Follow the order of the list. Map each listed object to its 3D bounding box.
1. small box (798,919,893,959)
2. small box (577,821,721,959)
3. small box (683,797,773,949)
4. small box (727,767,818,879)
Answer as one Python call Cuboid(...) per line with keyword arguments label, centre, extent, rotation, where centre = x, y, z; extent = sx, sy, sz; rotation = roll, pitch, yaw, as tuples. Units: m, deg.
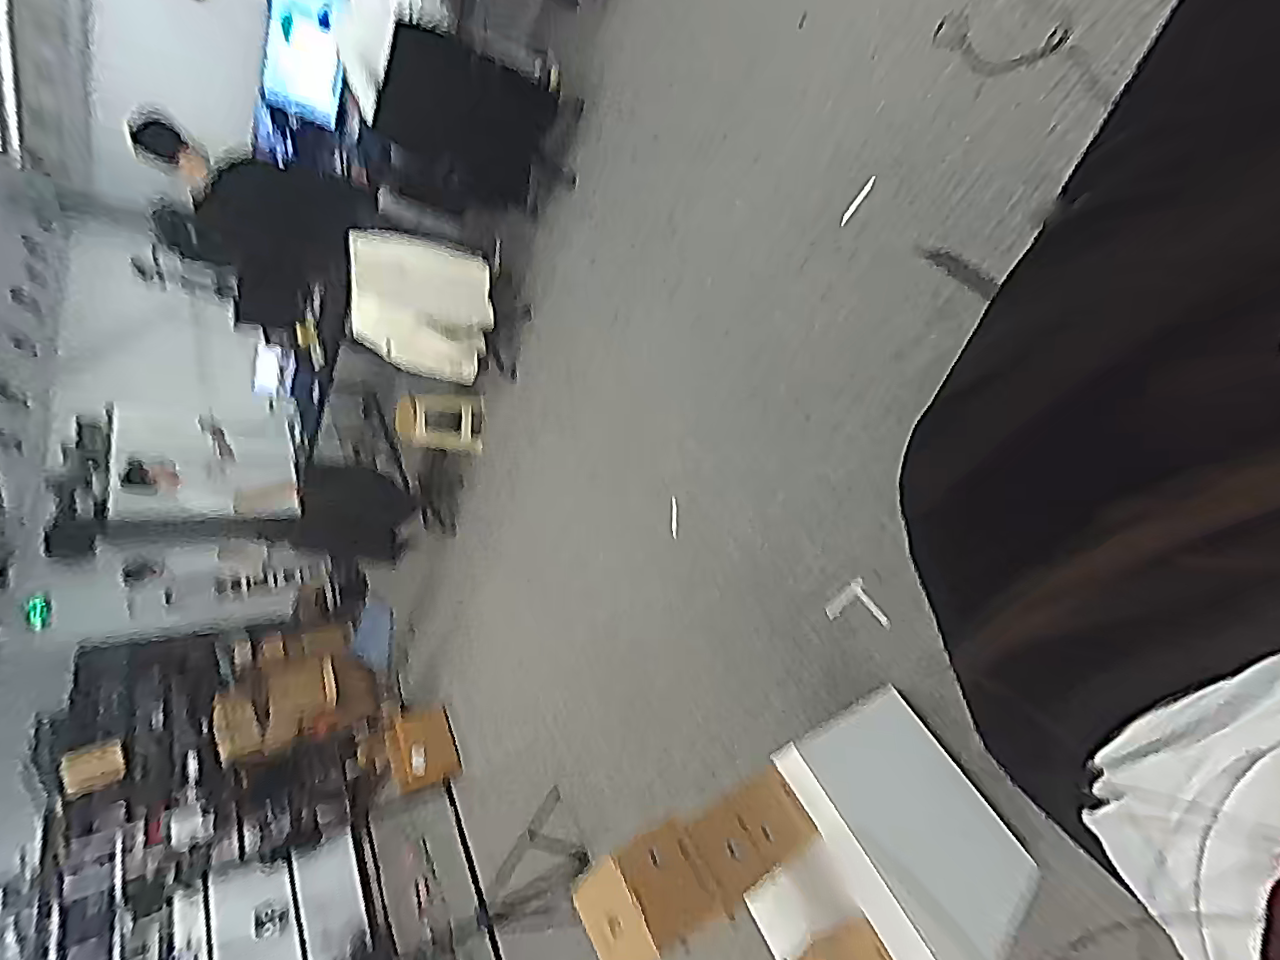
Cuboid(label="small box", centre=(0.407, 1.004, 1.050), extent=(0.179, 0.176, 0.168), rotation=(-56, 53, 31))
Cuboid(label="small box", centre=(0.021, 0.762, 0.977), extent=(0.168, 0.176, 0.179), rotation=(49, 123, 35))
Cuboid(label="small box", centre=(0.140, 0.780, 1.088), extent=(0.168, 0.176, 0.179), rotation=(53, 126, 32))
Cuboid(label="small box", centre=(0.260, 0.779, 1.202), extent=(0.168, 0.176, 0.179), rotation=(52, 125, 31))
